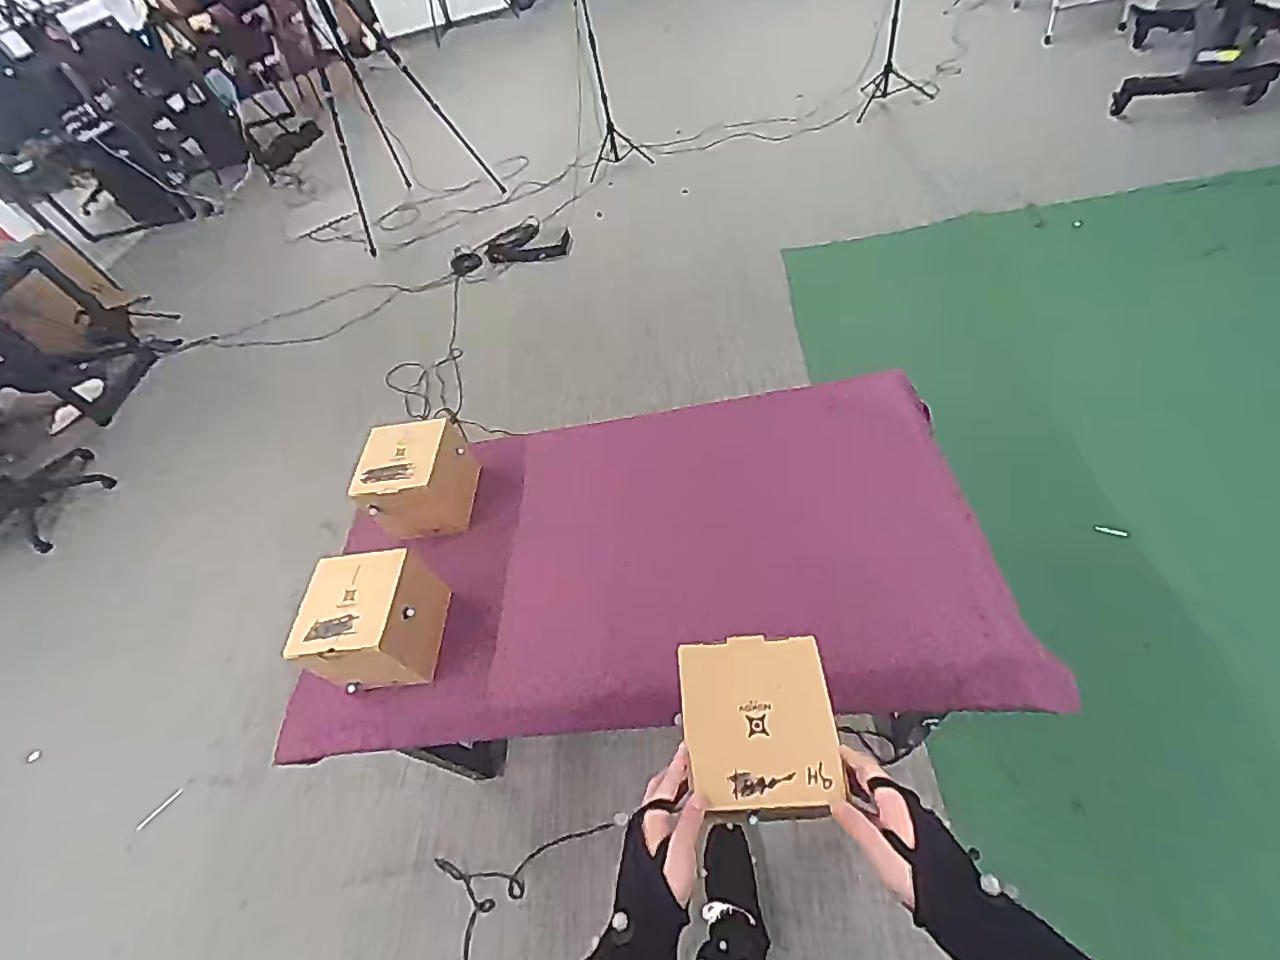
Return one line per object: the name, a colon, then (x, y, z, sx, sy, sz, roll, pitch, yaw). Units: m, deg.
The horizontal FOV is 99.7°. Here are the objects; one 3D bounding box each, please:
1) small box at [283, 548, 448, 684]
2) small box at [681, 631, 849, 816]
small box: (-0.452, 0.239, 0.925, 0.168, 0.176, 0.179, -7, 51, 7)
small box: (0.138, 0.303, 0.665, 0.168, 0.176, 0.179, -5, 54, 5)
